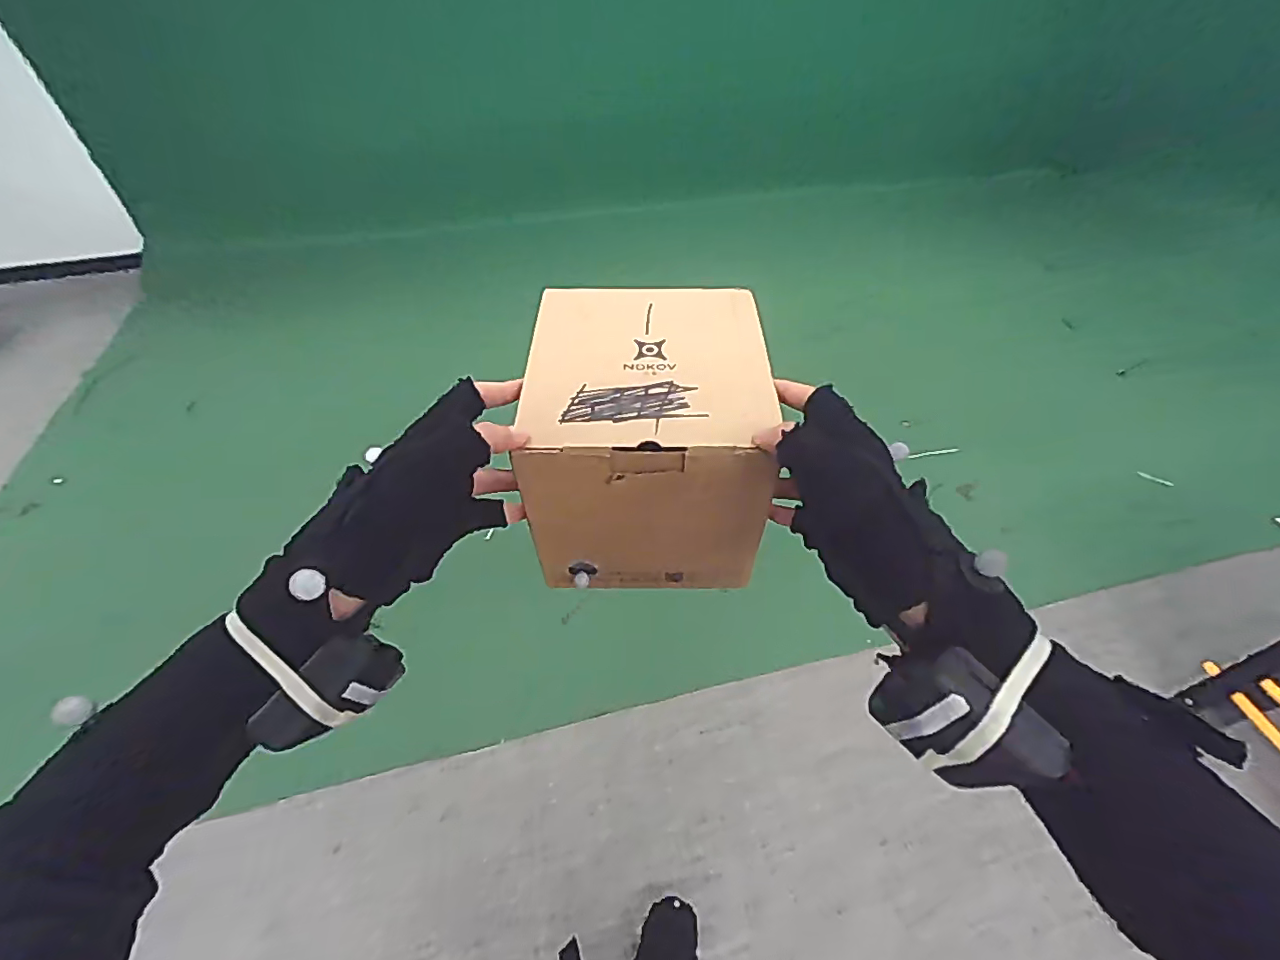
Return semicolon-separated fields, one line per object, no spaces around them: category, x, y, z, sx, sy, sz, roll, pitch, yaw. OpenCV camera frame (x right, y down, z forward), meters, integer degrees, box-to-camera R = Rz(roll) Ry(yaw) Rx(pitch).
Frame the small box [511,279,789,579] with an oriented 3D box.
small box;0.009;-0.035;0.424;0.168;0.176;0.179;0;50;1
